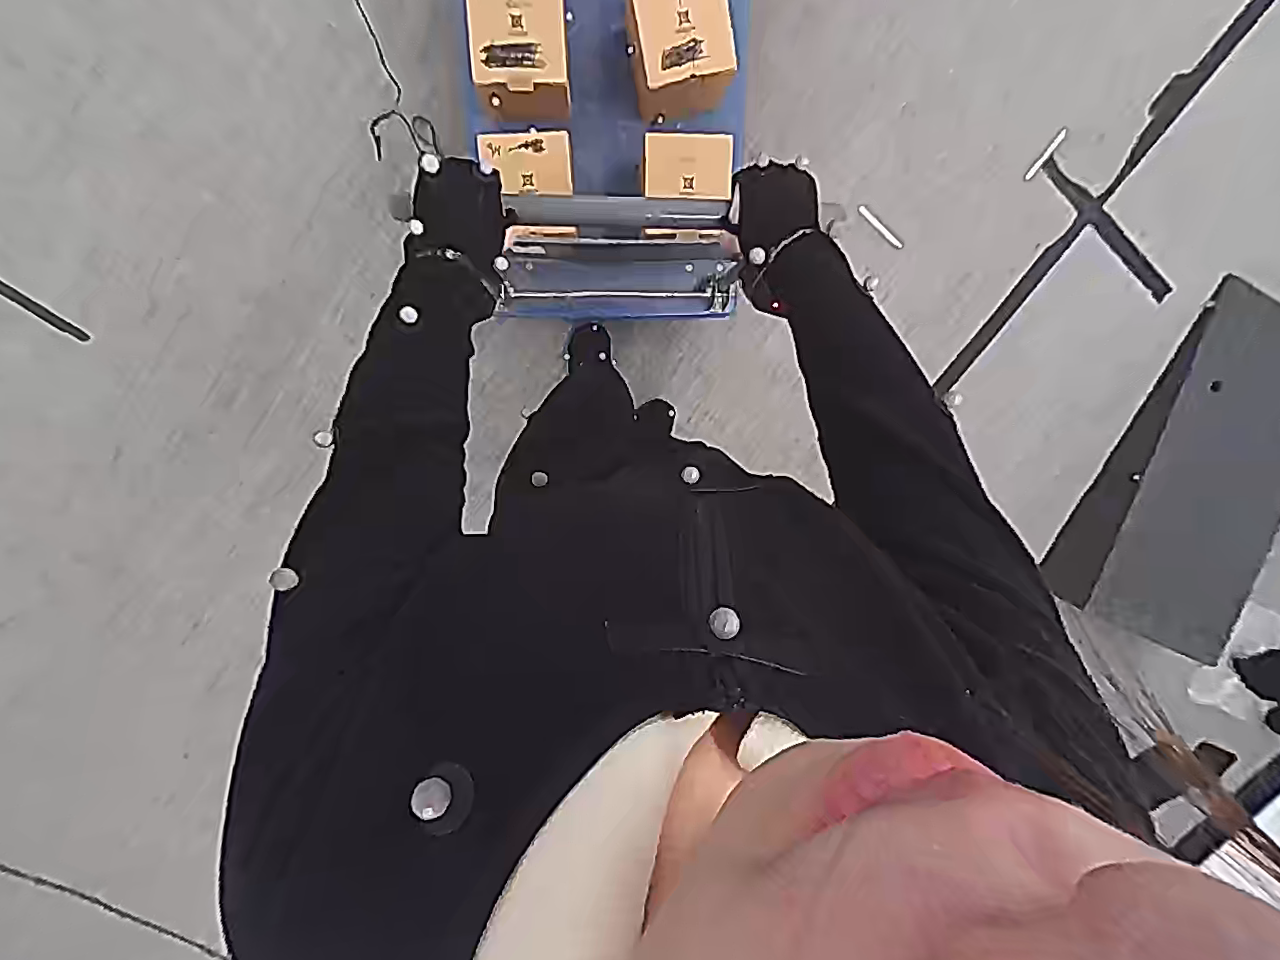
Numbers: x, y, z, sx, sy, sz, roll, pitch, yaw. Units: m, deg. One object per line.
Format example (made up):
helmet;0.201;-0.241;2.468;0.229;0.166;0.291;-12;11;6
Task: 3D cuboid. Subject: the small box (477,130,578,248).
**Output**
small box;-0.213;-0.565;1.072;0.168;0.176;0.179;-5;105;-4

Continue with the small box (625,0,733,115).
small box;0.069;-0.826;1.028;0.168;0.176;0.179;-13;104;-1

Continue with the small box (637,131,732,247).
small box;0.084;-0.577;1.094;0.168;0.176;0.179;-1;104;-5
